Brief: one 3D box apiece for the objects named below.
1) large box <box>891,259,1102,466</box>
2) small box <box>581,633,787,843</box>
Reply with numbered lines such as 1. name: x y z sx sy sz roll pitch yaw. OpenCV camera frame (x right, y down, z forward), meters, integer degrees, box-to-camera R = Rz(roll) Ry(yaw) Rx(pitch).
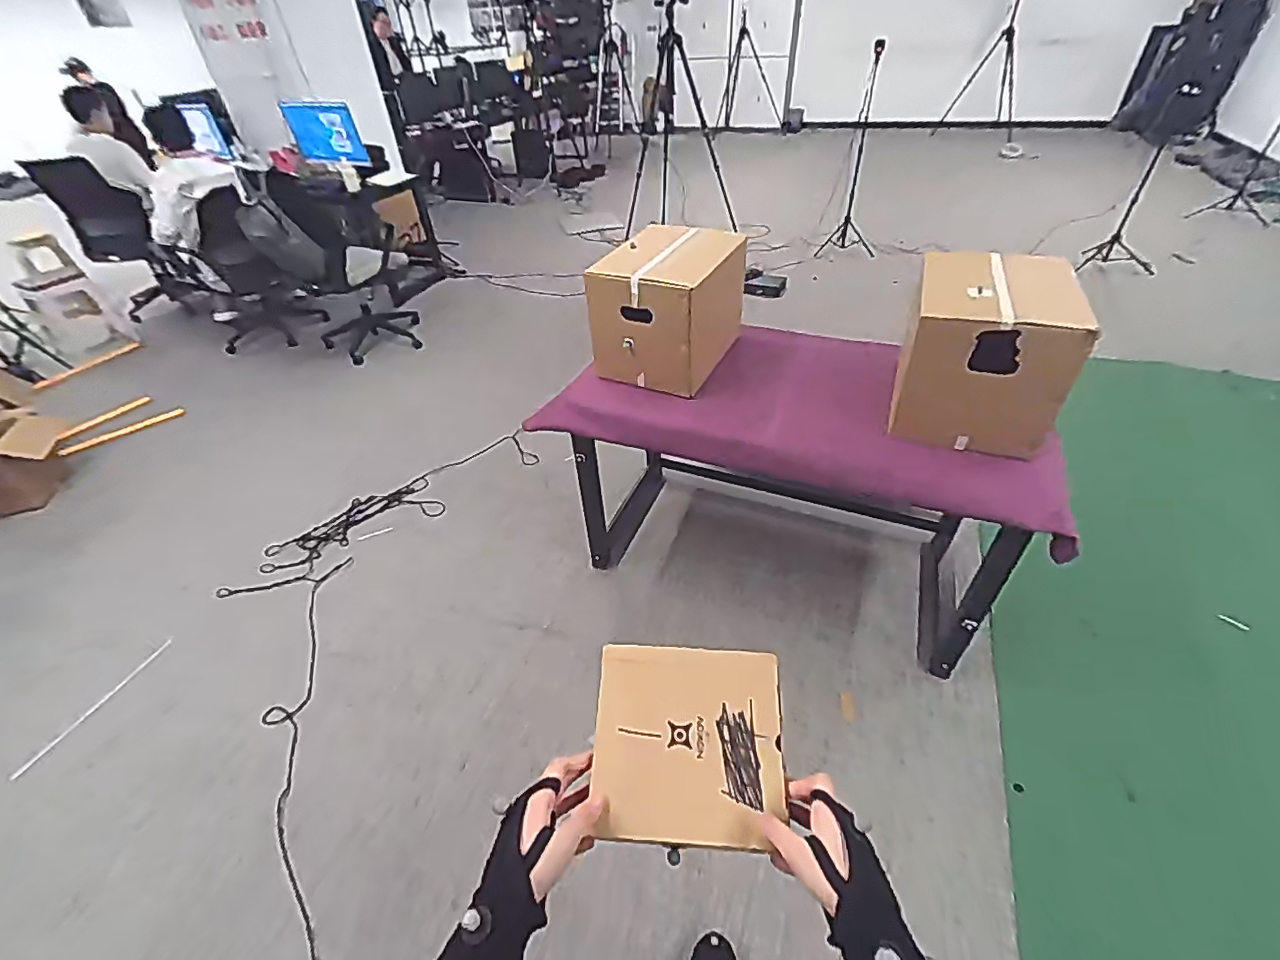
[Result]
1. large box: 0.801 -0.293 1.283 0.320 0.320 0.408 11 43 21
2. small box: 0.043 0.272 0.563 0.179 0.176 0.168 3 55 3
